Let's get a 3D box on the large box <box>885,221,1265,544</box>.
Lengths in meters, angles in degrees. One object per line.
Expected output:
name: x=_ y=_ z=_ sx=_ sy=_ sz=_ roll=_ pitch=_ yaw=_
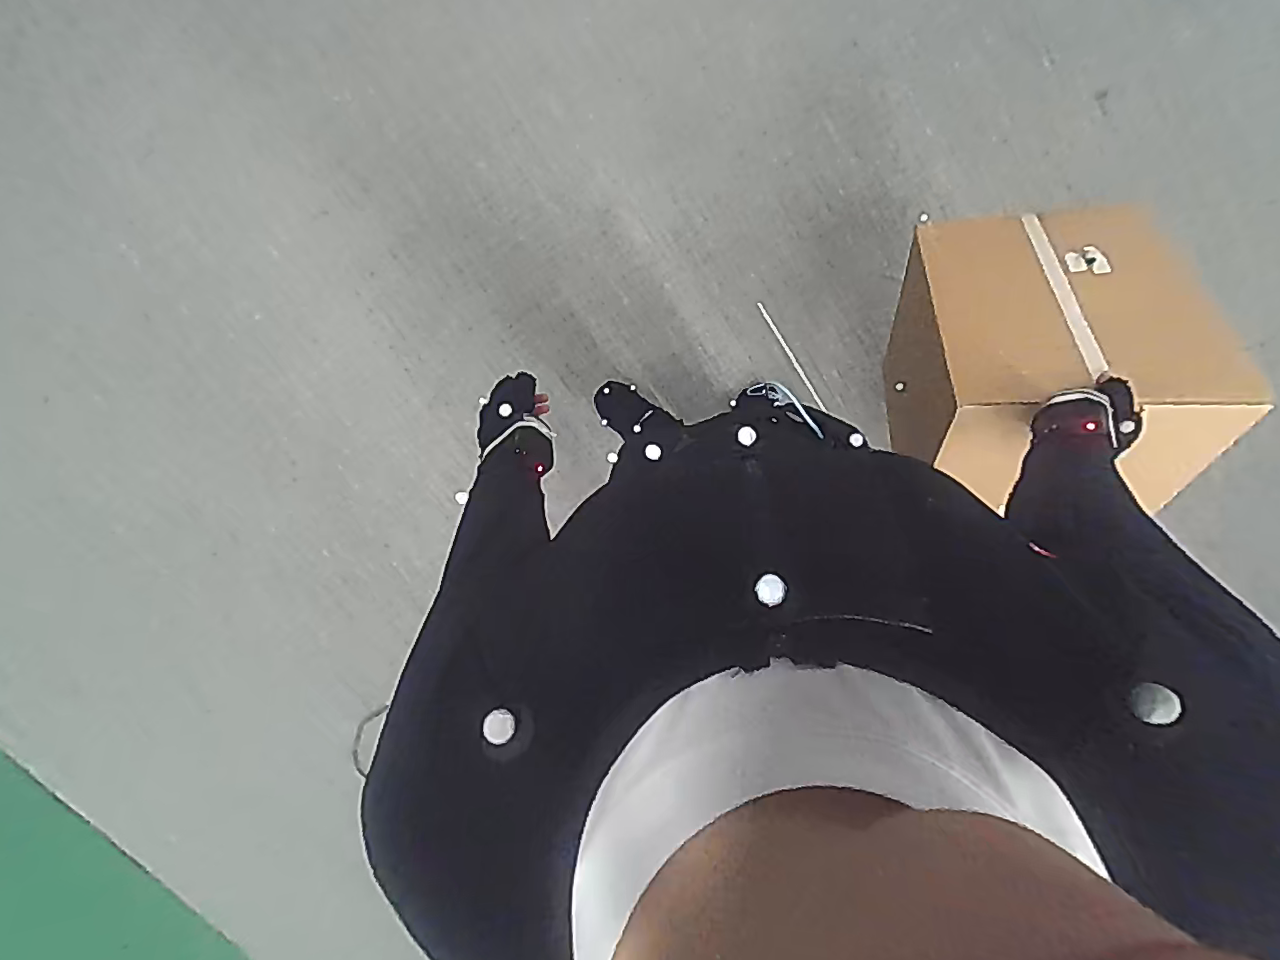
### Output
large box: x=0.594 y=-0.149 z=0.853 sx=0.320 sy=0.408 sz=0.320 roll=3 pitch=144 yaw=12
